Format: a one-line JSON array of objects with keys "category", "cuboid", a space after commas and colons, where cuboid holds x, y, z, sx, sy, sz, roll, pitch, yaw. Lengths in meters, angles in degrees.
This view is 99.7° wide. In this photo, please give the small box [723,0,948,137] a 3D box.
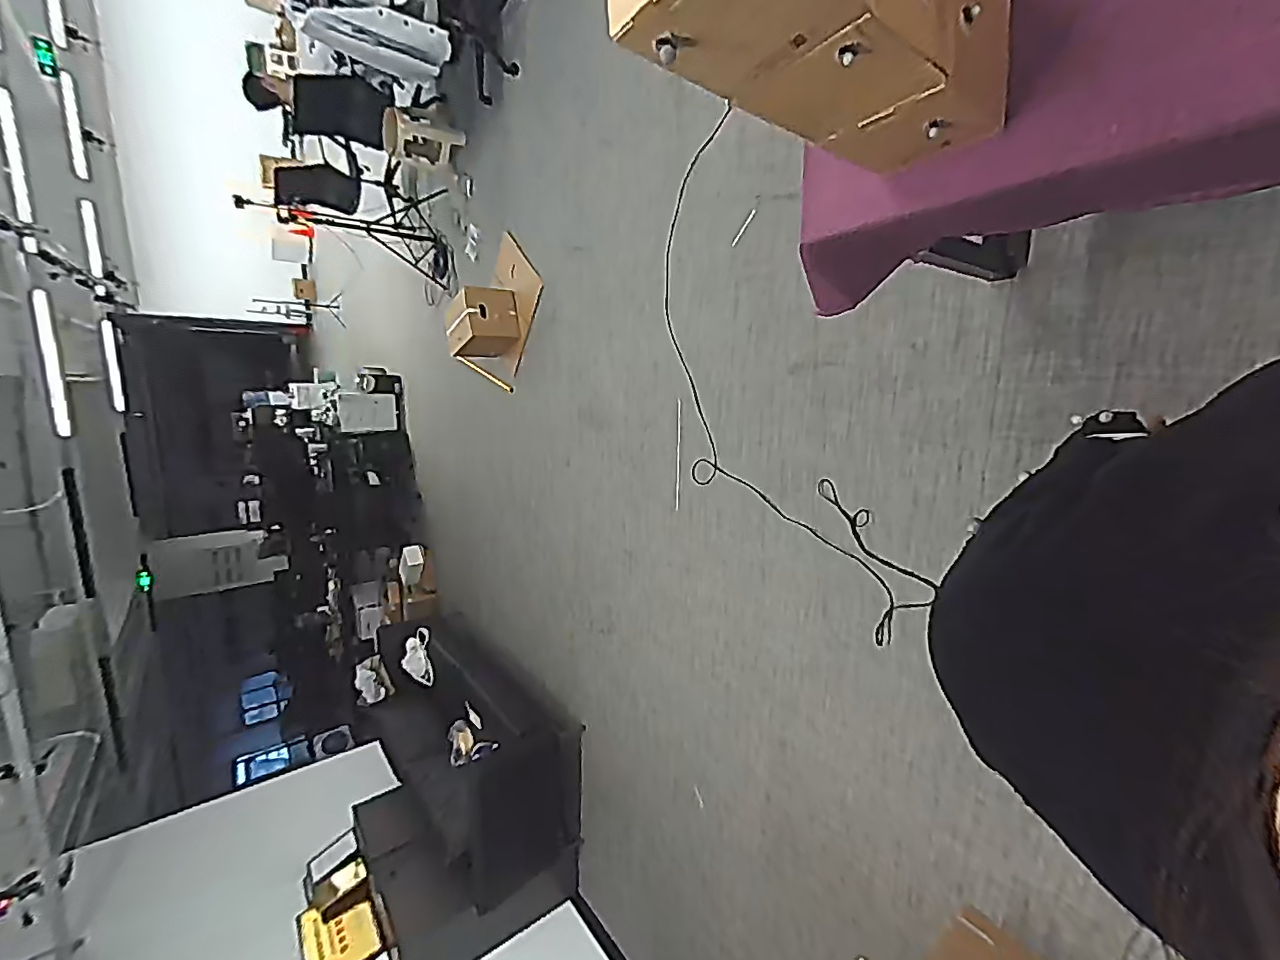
[{"category": "small box", "cuboid": [0.211, -0.514, 0.592, 0.179, 0.176, 0.168, 4, 99, 50]}]

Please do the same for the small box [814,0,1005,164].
[{"category": "small box", "cuboid": [0.341, -0.529, 0.687, 0.168, 0.176, 0.179, 8, 101, 51]}]
